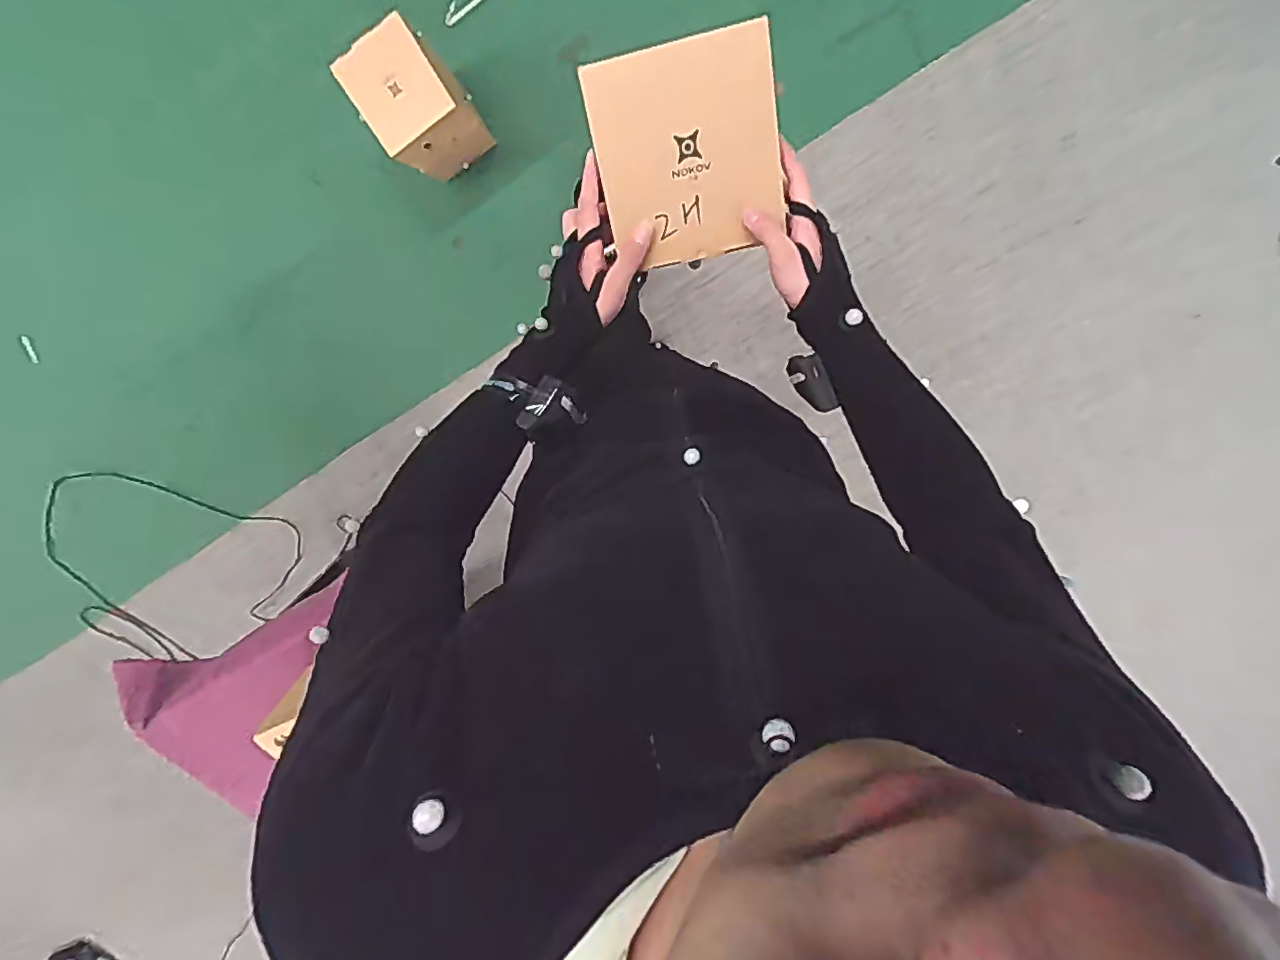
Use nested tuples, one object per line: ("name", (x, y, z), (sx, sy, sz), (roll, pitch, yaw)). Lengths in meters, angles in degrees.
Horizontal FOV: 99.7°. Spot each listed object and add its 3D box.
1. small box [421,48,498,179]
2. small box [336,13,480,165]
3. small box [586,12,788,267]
("small box", (-0.454, -0.824, 1.238), (0.168, 0.176, 0.179), (-30, 110, 12))
("small box", (-0.452, -0.766, 1.088), (0.168, 0.176, 0.179), (-30, 108, 12))
("small box", (0.048, -0.332, 0.560), (0.168, 0.176, 0.179), (-10, 116, 6))
